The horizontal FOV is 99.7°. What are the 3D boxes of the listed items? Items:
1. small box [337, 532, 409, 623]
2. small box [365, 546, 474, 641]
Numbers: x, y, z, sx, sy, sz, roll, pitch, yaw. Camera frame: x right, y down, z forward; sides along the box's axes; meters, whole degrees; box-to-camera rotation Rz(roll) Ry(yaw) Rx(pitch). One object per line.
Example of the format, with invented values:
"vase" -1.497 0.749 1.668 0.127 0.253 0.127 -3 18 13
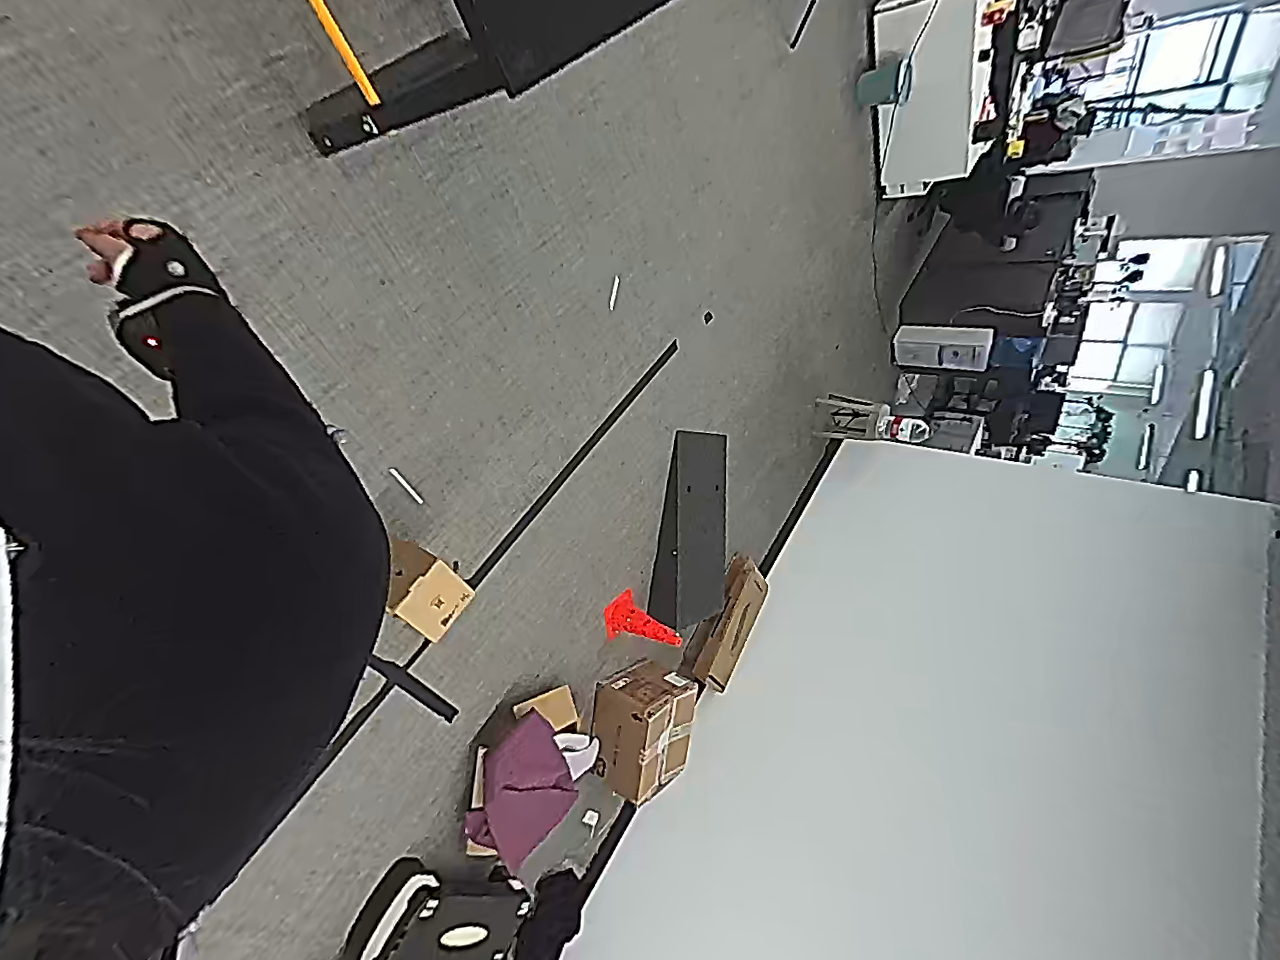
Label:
"small box" -0.719 0.273 1.550 0.168 0.176 0.179 -52 137 -28
"small box" -0.592 0.294 1.447 0.168 0.176 0.179 -53 138 -26
